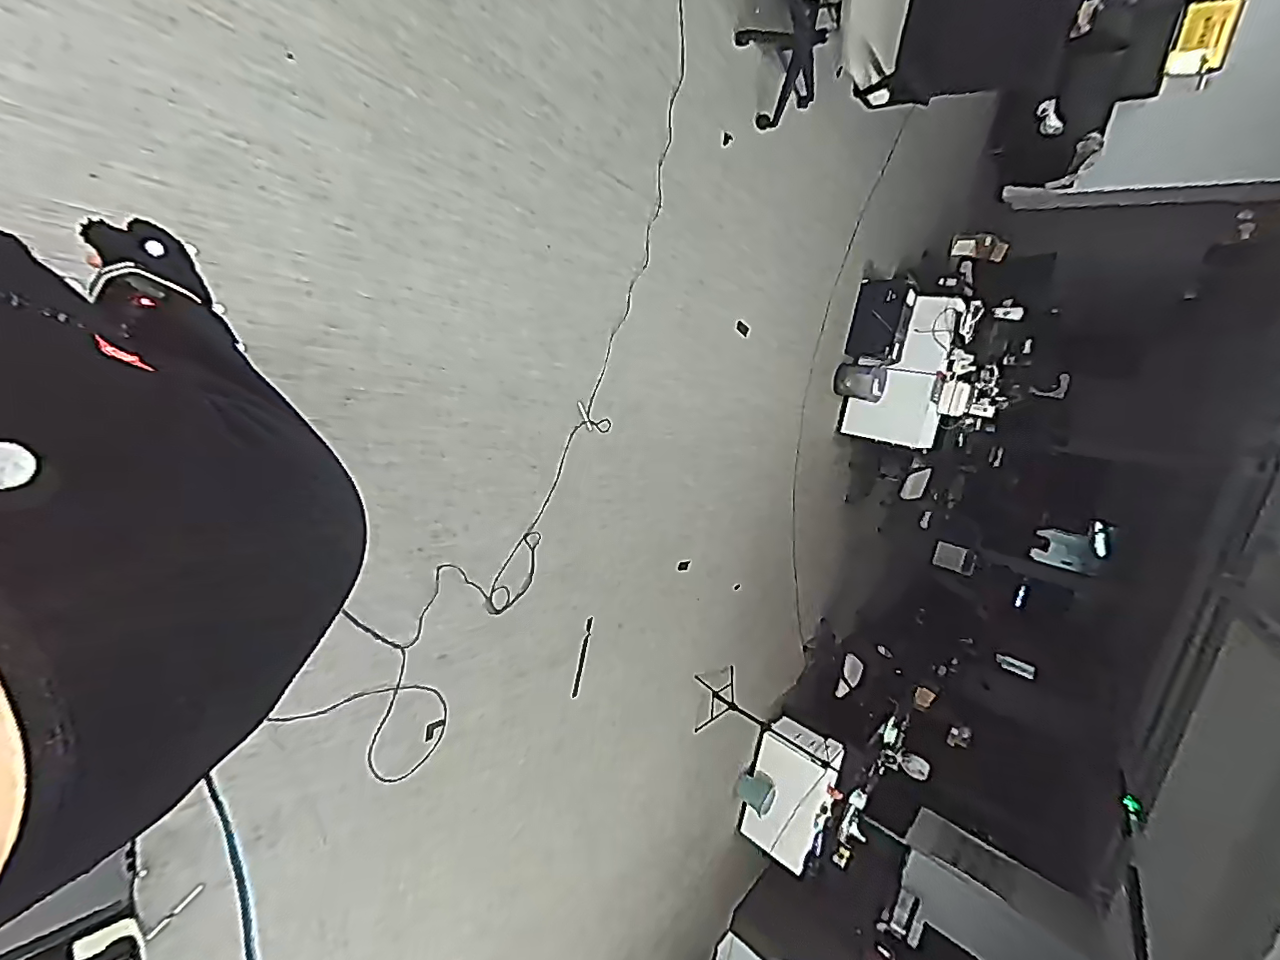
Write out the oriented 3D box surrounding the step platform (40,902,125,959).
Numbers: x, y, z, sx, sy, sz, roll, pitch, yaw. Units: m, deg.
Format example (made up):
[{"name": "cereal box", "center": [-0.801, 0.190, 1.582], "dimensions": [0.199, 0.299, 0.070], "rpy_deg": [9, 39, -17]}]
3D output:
[{"name": "step platform", "center": [-1.454, 1.180, 1.034], "dimensions": [0.684, 0.204, 0.286], "rpy_deg": [-4, 108, -49]}]
